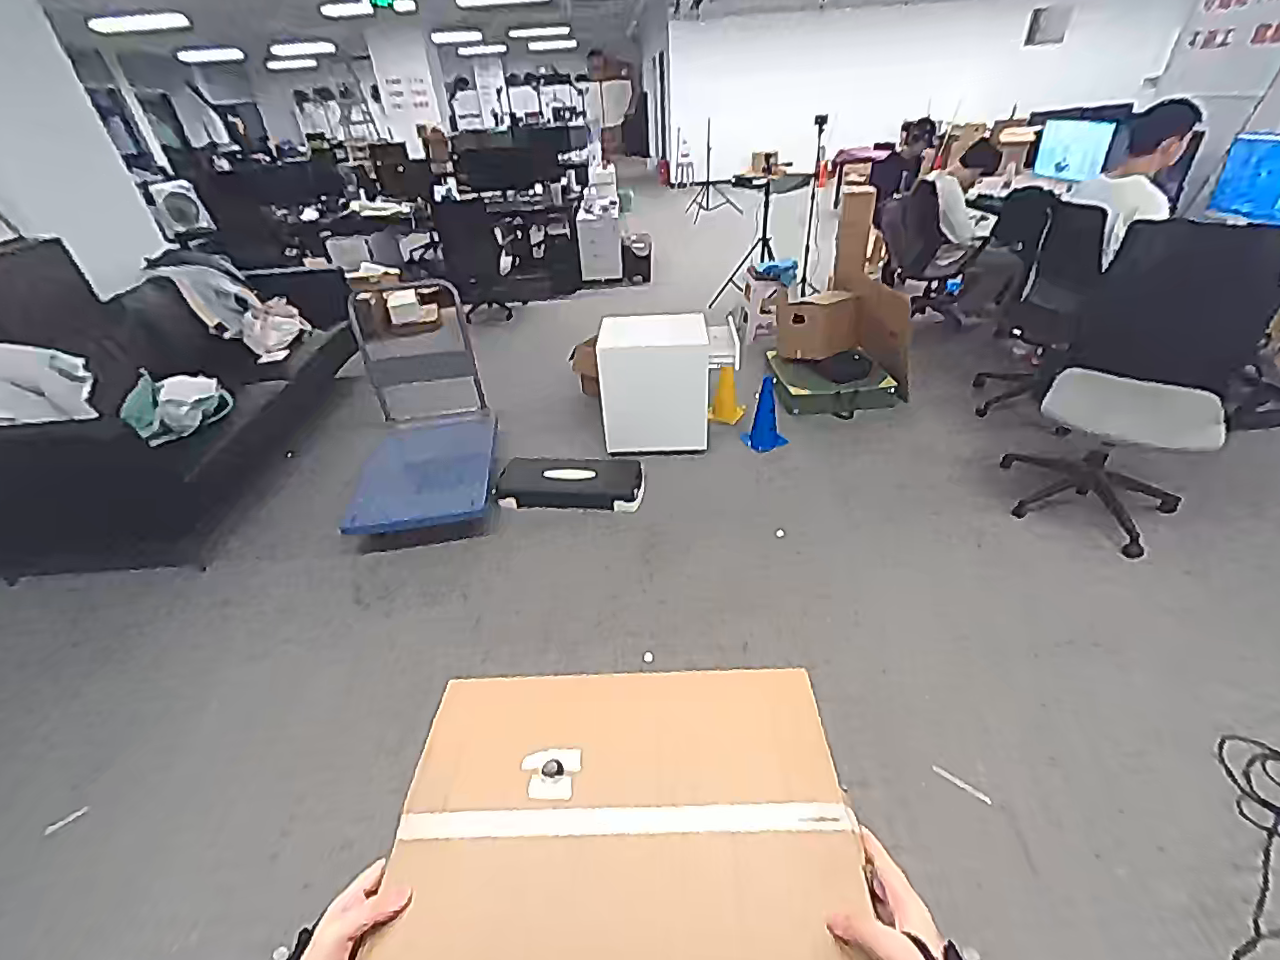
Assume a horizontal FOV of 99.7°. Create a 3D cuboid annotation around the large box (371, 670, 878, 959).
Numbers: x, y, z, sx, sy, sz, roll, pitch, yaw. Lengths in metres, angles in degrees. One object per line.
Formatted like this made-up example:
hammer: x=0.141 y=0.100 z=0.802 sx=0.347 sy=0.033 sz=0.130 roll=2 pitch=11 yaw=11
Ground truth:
large box: x=-0.003 y=0.440 z=0.582 sx=0.408 sy=0.320 sz=0.320 roll=-5 pitch=34 yaw=4
